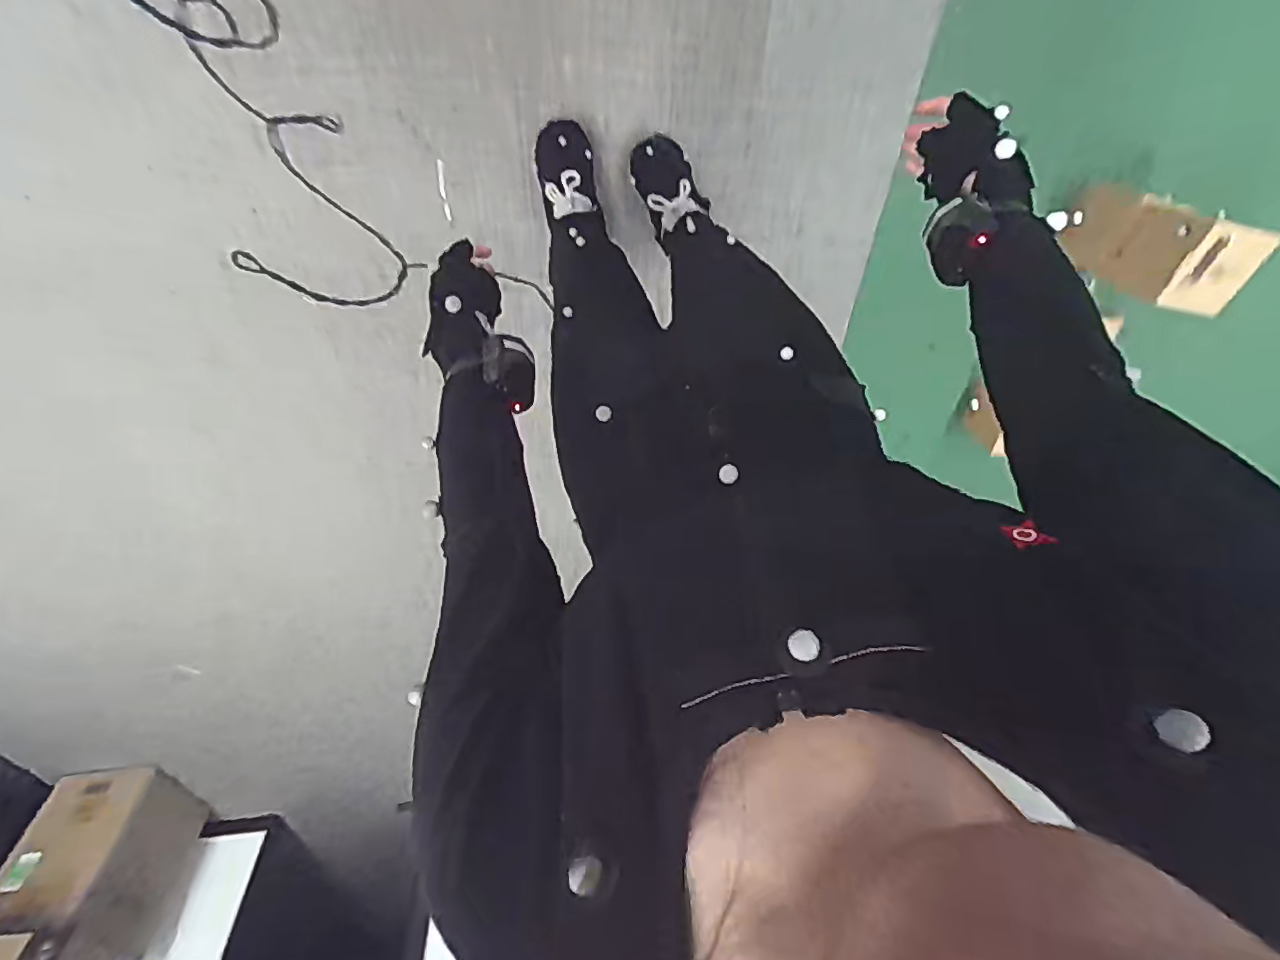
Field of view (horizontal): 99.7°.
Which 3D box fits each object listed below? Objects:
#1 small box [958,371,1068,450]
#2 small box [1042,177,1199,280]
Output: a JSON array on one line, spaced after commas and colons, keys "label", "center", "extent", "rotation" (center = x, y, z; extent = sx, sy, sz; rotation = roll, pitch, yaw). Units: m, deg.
[{"label": "small box", "center": [1.091, -0.209, 1.598], "extent": [0.179, 0.176, 0.168], "rotation": [-6, 130, -3]}, {"label": "small box", "center": [1.117, -0.595, 1.272], "extent": [0.179, 0.176, 0.168], "rotation": [7, 128, -12]}]
